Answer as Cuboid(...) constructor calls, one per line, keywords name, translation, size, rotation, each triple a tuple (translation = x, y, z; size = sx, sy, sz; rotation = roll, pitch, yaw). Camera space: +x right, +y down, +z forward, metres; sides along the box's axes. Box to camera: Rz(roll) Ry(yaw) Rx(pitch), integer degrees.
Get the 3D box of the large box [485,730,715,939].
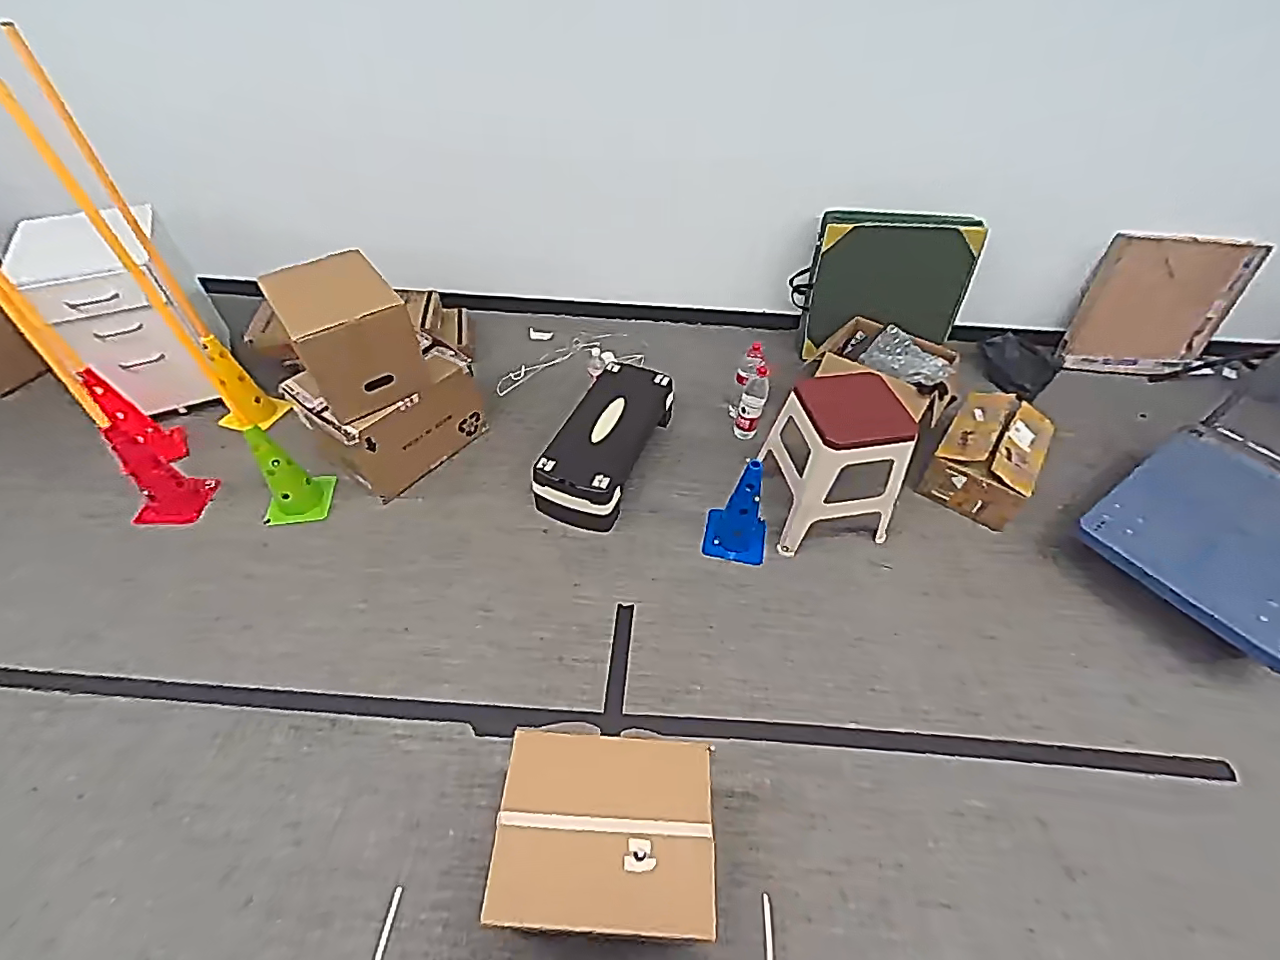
Cuboid(name="large box", translation=(-0.072, 0.744, 1.128), size=(0.408, 0.320, 0.320), rotation=(5, 49, 0))
